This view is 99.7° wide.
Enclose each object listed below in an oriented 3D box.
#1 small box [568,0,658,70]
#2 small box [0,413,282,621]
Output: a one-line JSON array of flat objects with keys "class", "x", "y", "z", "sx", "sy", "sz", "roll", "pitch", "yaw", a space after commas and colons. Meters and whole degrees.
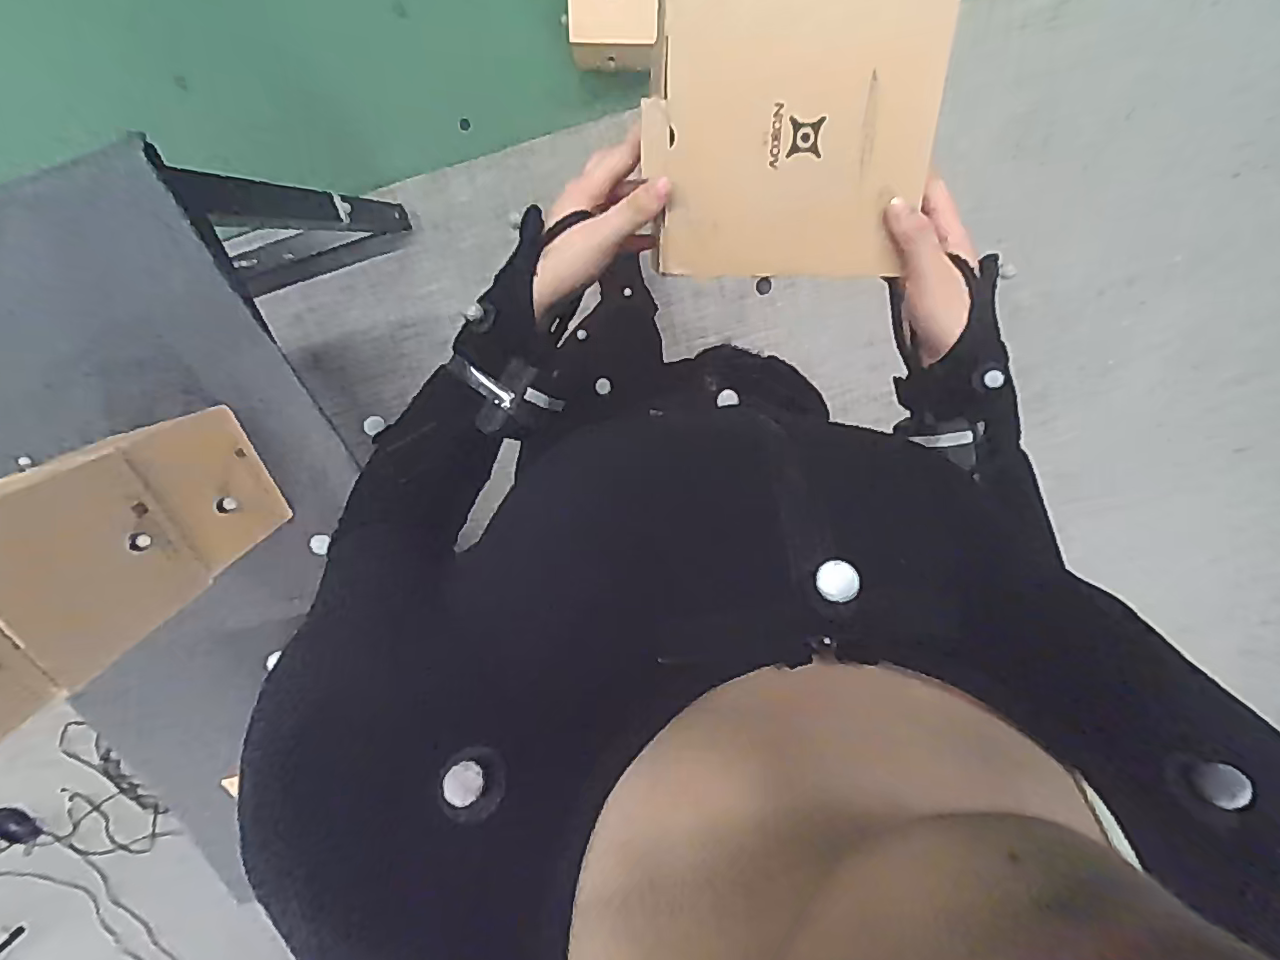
[{"class": "small box", "x": -0.048, "y": -0.912, "z": 1.035, "sx": 0.168, "sy": 0.176, "sz": 0.179, "roll": 0, "pitch": 113, "yaw": -2}, {"class": "small box", "x": -0.572, "y": 0.035, "z": 0.642, "sx": 0.179, "sy": 0.176, "sz": 0.168, "roll": -14, "pitch": 113, "yaw": 7}]
